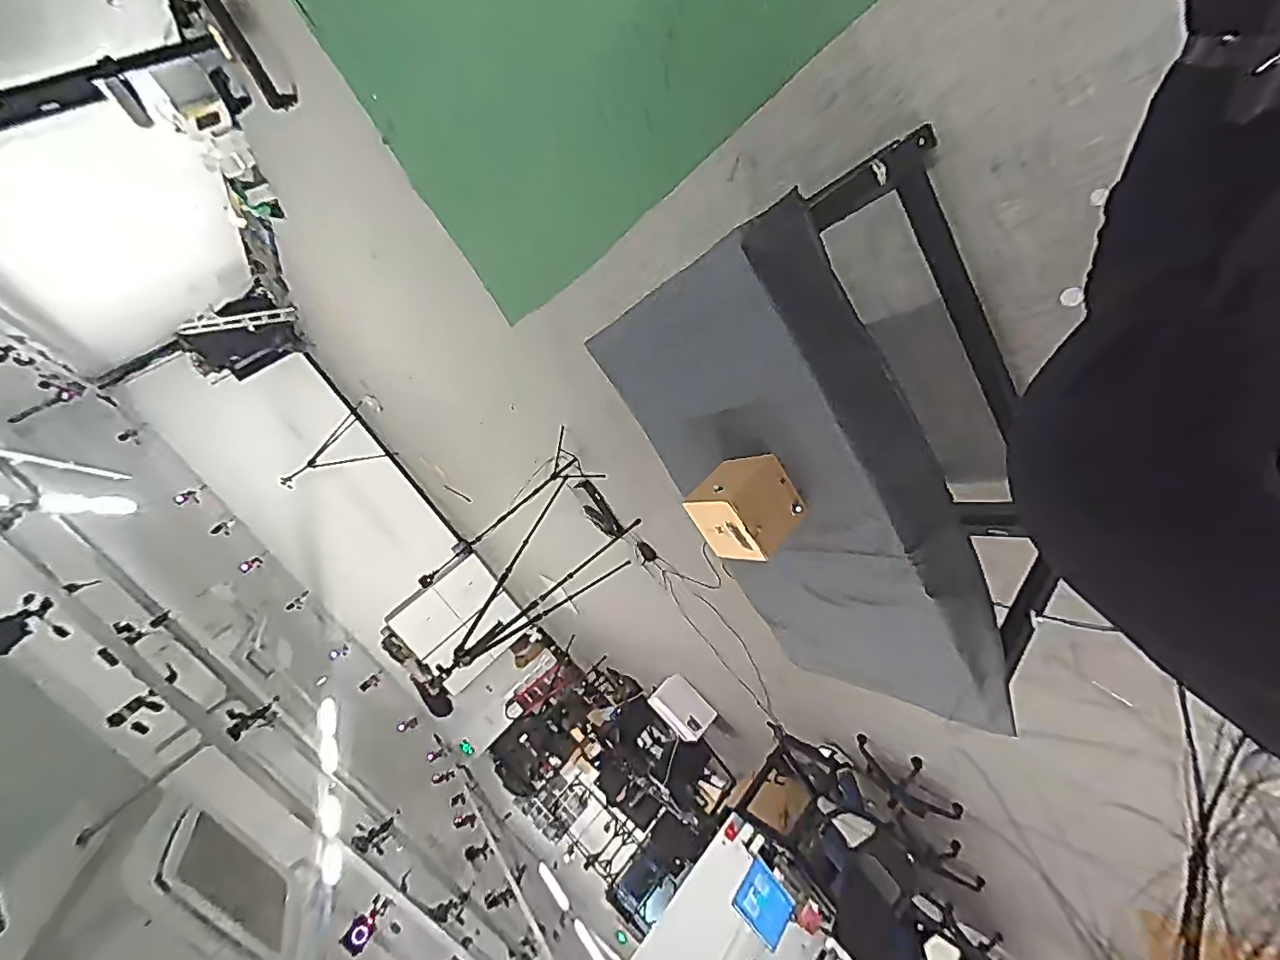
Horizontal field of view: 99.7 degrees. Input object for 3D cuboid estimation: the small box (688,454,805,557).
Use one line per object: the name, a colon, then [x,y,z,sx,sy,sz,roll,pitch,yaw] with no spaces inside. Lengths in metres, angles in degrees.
small box: [0.249,0.054,1.231,0.168,0.176,0.179,55,155,-15]
